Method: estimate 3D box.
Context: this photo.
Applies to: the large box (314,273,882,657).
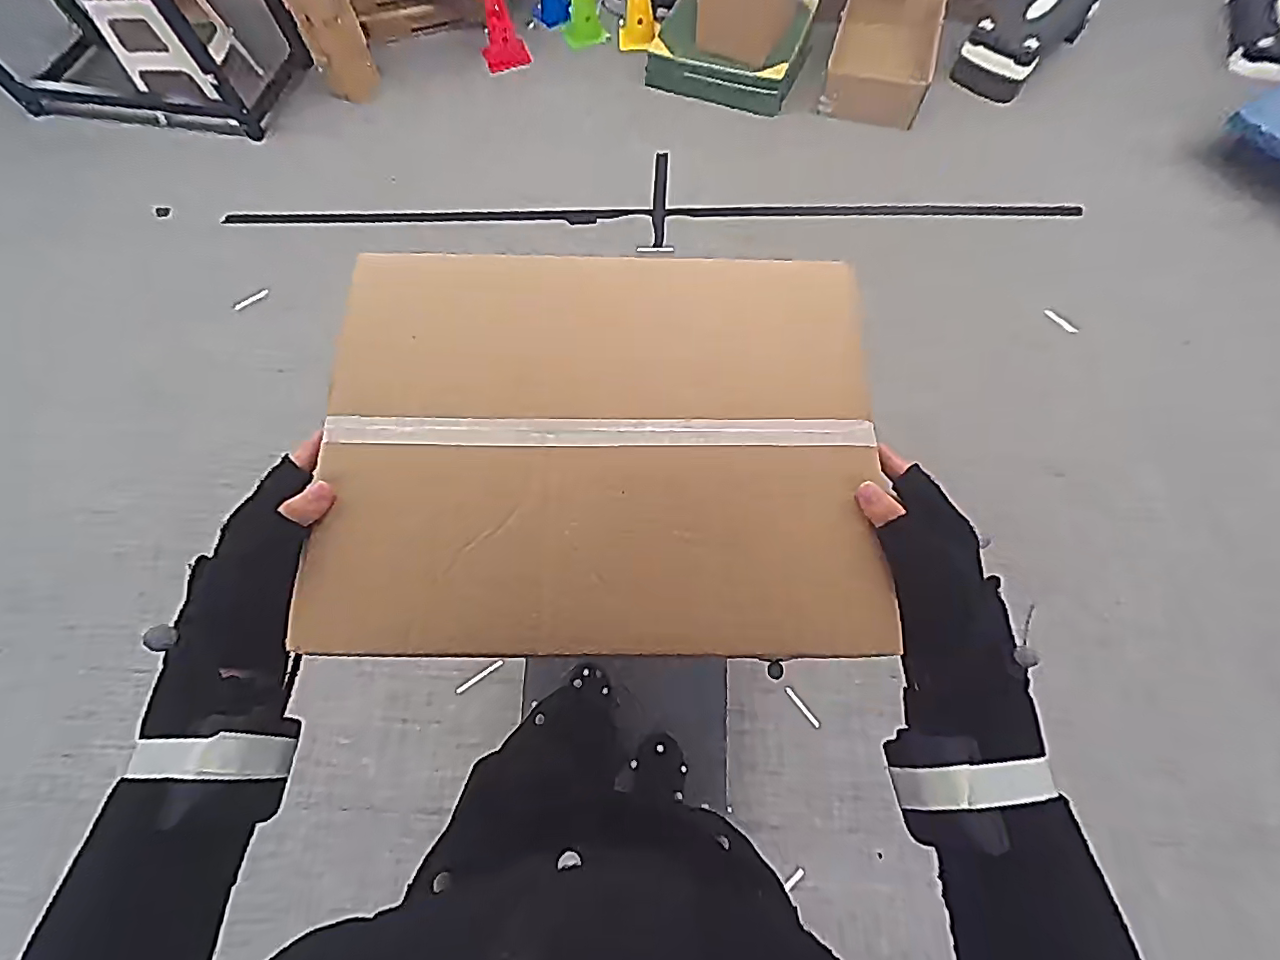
[{"bbox_3d":[-0.030,0.013,0.559,0.408,0.320,0.320,0,72,-1],"label":"large box"}]
